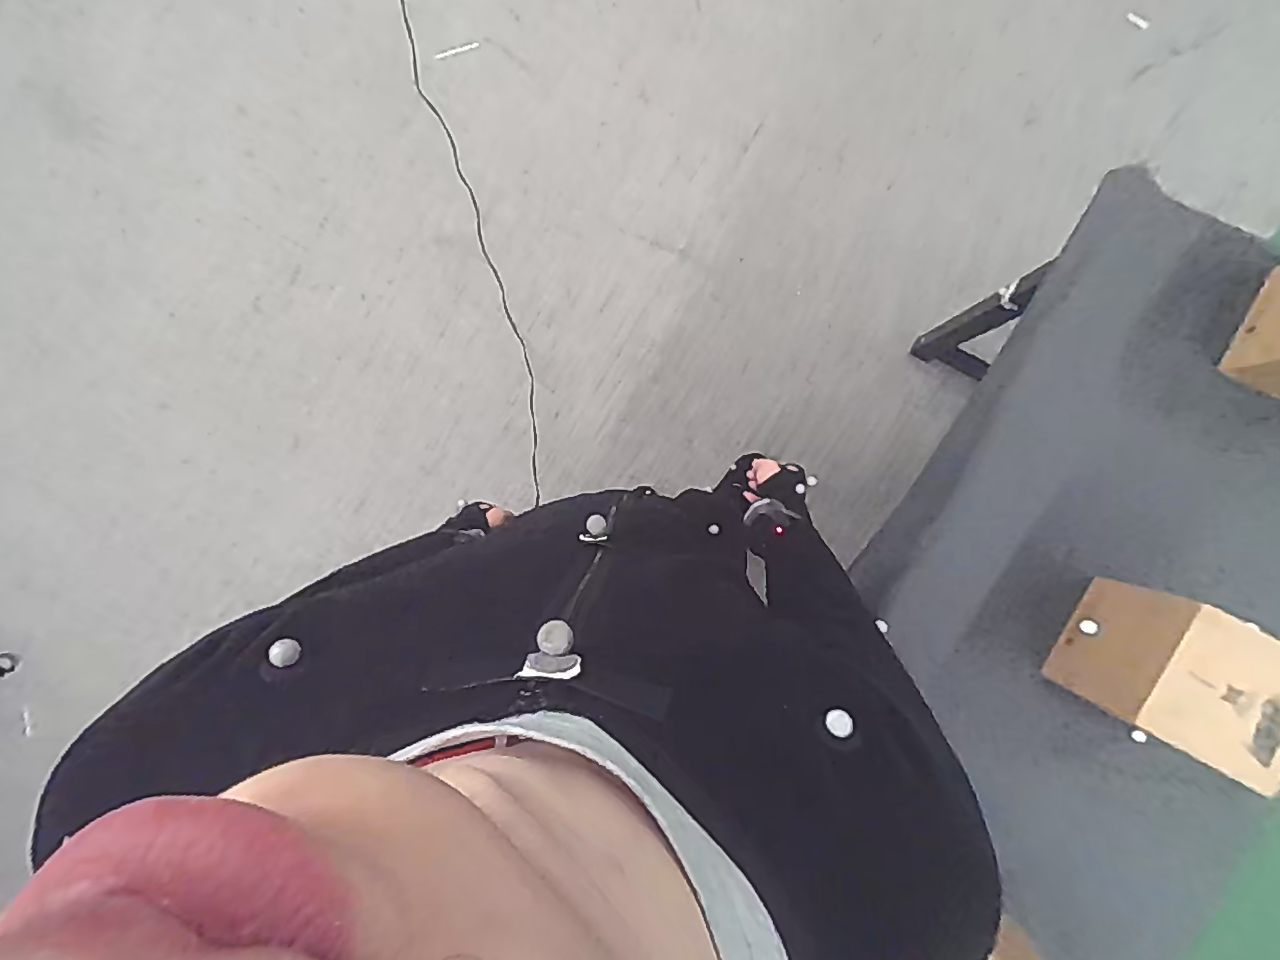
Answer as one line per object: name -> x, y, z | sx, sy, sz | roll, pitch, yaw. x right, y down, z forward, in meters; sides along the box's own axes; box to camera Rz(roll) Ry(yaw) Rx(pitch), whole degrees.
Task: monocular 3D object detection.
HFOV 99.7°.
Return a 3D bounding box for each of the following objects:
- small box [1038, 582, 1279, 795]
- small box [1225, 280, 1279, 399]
small box -> 0.683, 0.251, 0.702 | 0.179, 0.176, 0.168 | 29, 92, 4
small box -> 0.926, -0.186, 0.680 | 0.179, 0.176, 0.168 | 27, 93, 4
